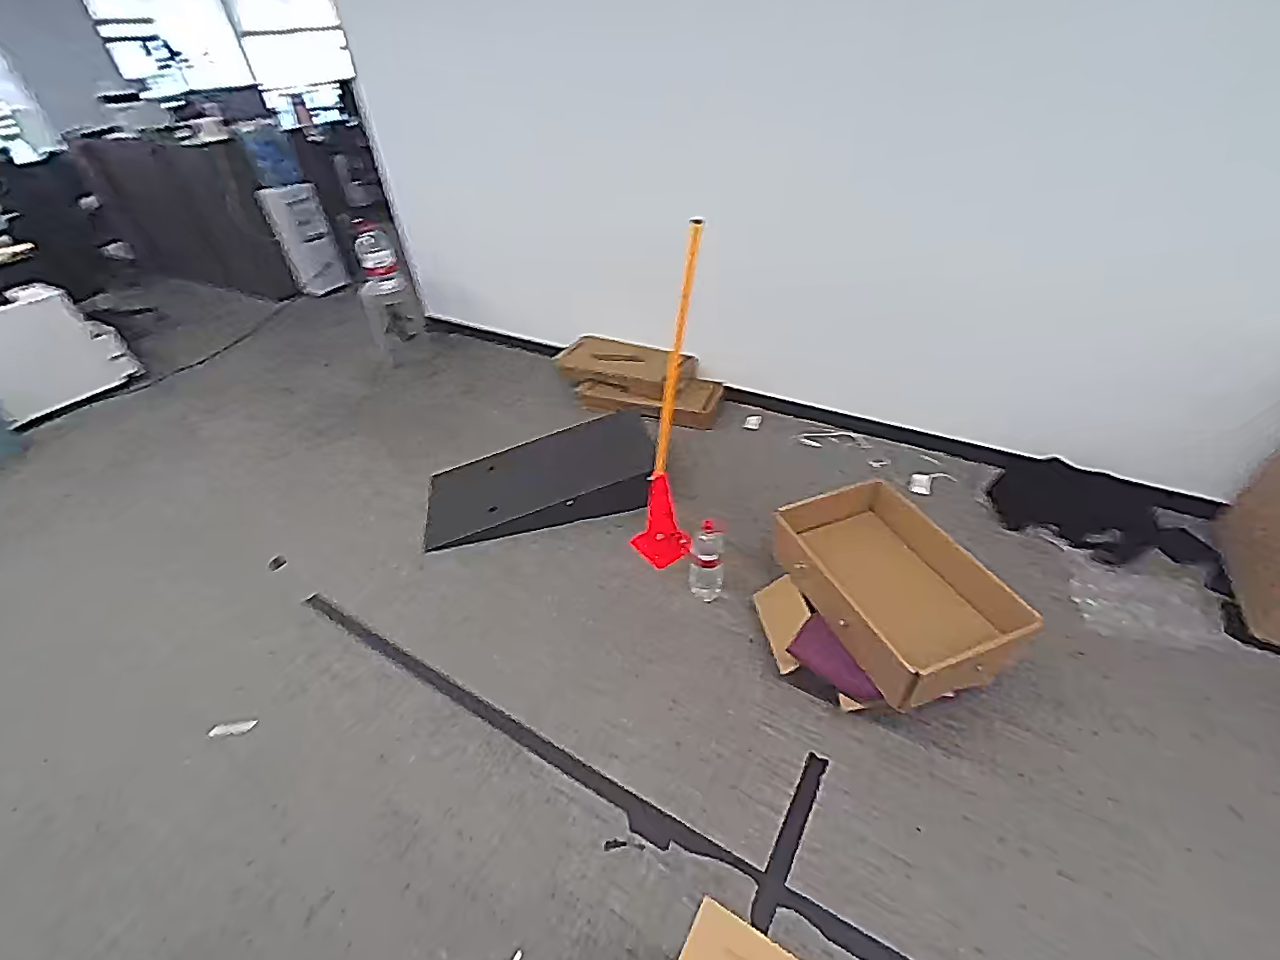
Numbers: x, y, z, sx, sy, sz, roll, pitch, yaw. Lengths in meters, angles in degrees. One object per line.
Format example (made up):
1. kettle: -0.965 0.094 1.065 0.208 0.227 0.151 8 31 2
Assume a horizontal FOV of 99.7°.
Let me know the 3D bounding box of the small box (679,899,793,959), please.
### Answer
1. small box: 0.129 0.780 0.795 0.168 0.176 0.179 20 44 25
